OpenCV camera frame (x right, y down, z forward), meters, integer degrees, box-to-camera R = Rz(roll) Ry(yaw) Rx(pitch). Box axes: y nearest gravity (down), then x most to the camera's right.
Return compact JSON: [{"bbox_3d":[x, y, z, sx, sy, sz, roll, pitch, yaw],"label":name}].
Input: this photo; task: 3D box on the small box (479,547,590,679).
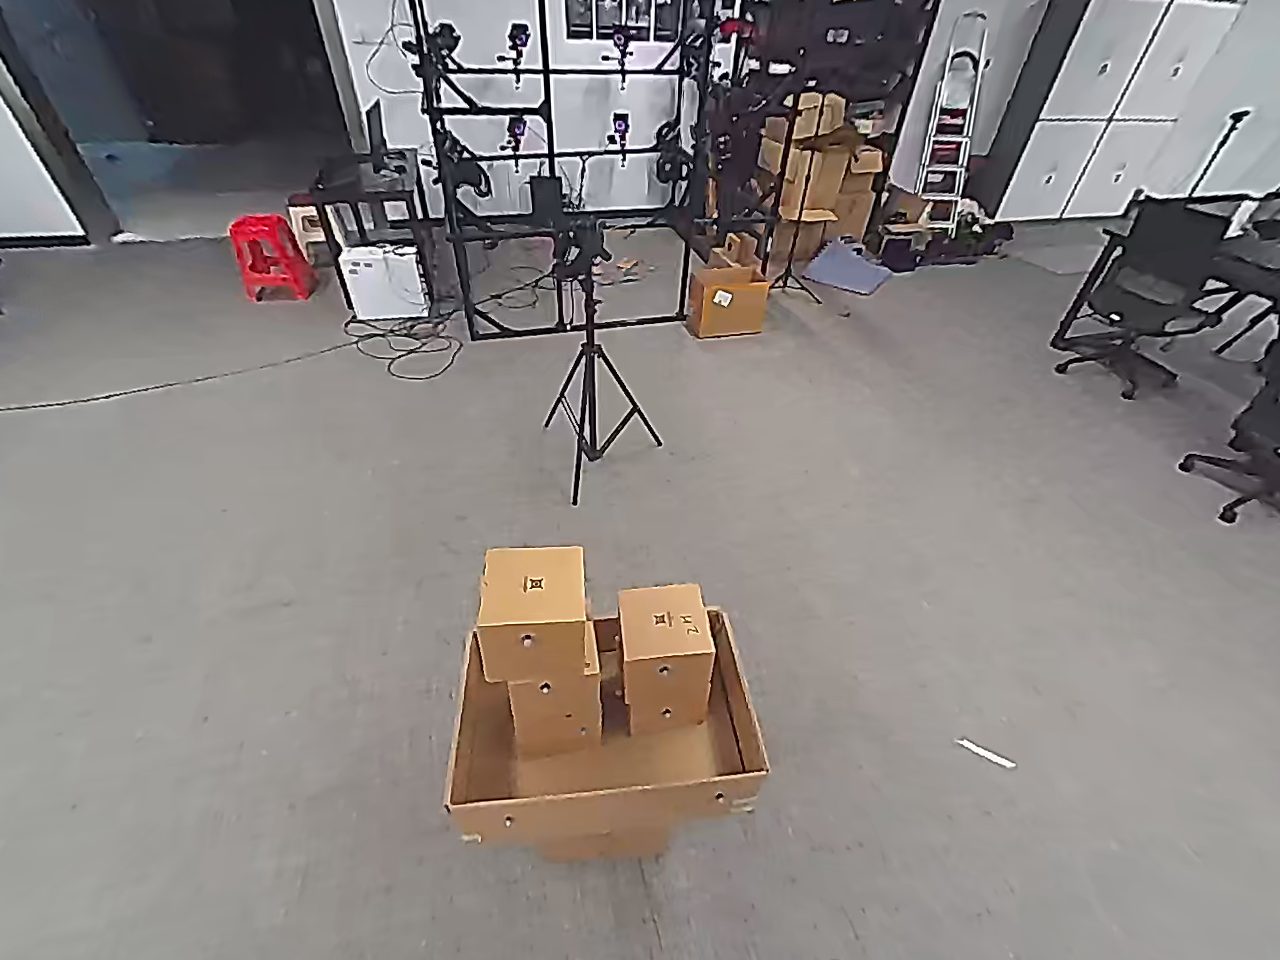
[{"bbox_3d":[-0.182,0.239,0.972,0.179,0.176,0.168,-2,41,-7],"label":"small box"}]
